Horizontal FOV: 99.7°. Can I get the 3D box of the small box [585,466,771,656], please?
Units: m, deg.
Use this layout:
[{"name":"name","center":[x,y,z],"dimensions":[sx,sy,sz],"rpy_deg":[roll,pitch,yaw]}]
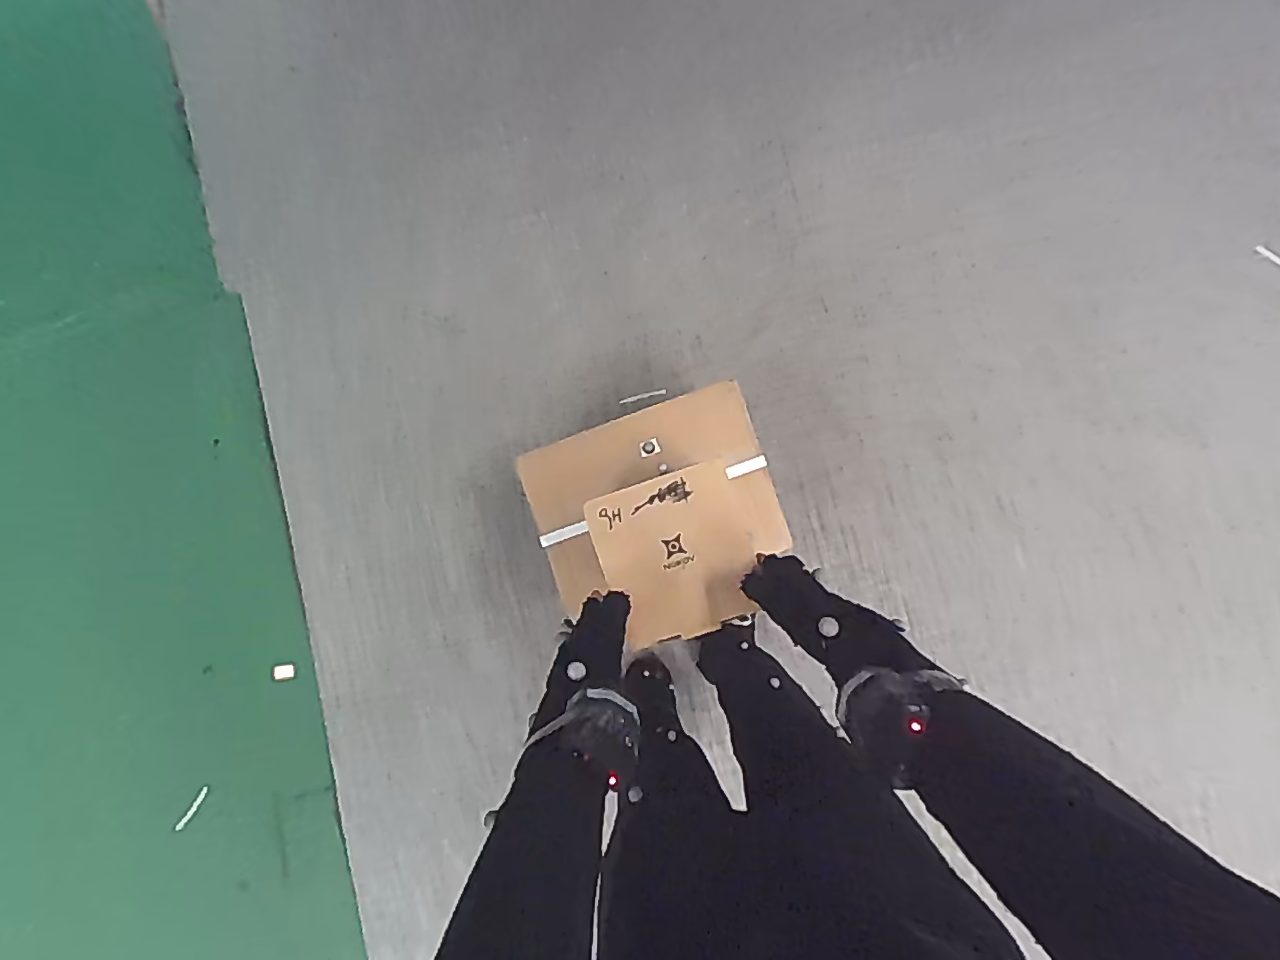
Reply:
[{"name":"small box","center":[0.046,0.089,0.670],"dimensions":[0.168,0.176,0.179],"rpy_deg":[-18,88,2]}]
